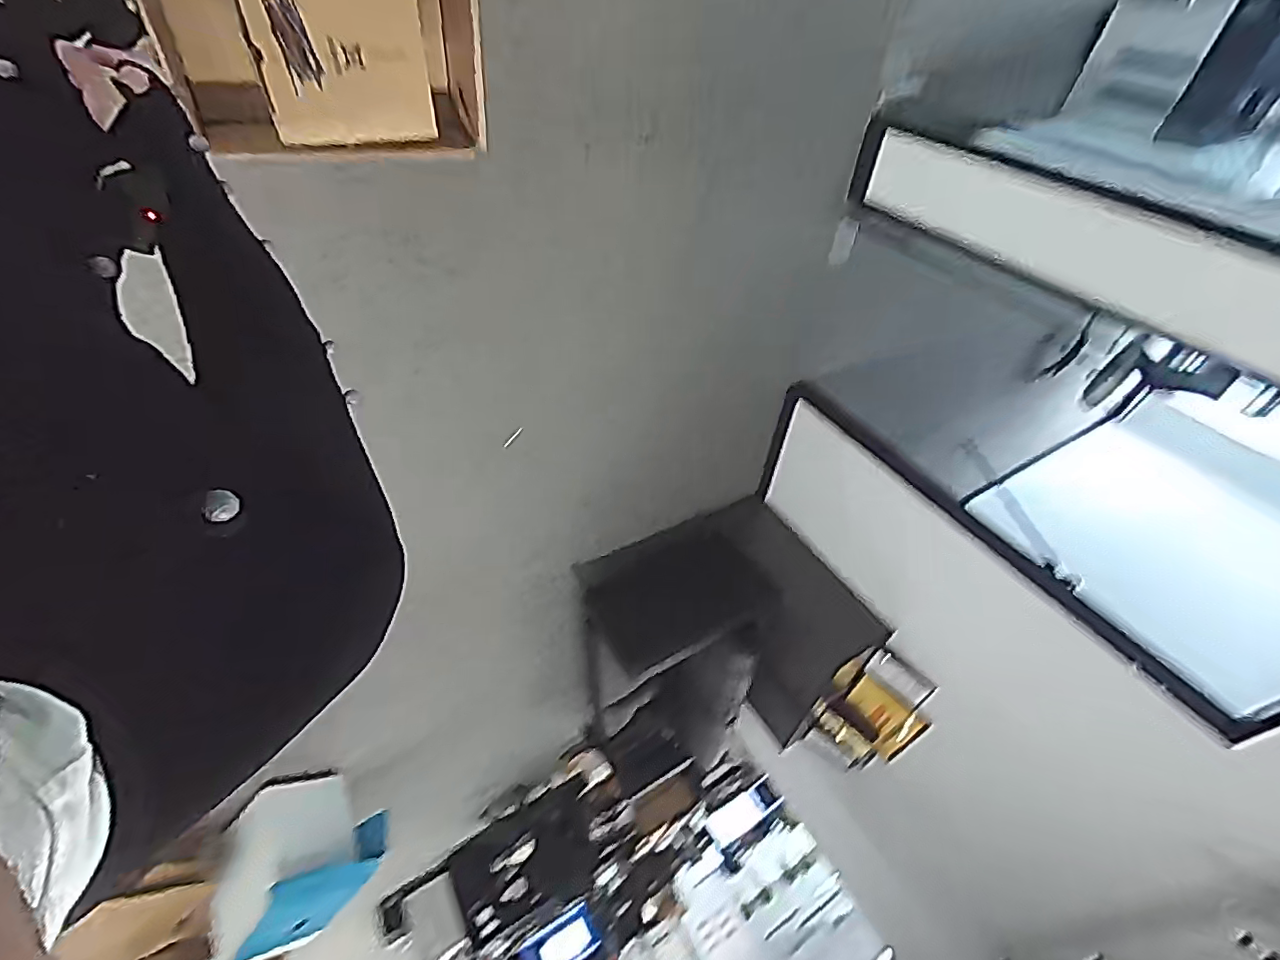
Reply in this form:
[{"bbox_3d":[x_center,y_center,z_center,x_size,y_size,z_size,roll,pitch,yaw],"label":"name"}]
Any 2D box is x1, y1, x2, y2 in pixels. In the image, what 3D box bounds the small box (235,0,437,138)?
[{"bbox_3d":[-0.360,-0.518,0.634,0.179,0.176,0.168,-19,141,-24],"label":"small box"}]
